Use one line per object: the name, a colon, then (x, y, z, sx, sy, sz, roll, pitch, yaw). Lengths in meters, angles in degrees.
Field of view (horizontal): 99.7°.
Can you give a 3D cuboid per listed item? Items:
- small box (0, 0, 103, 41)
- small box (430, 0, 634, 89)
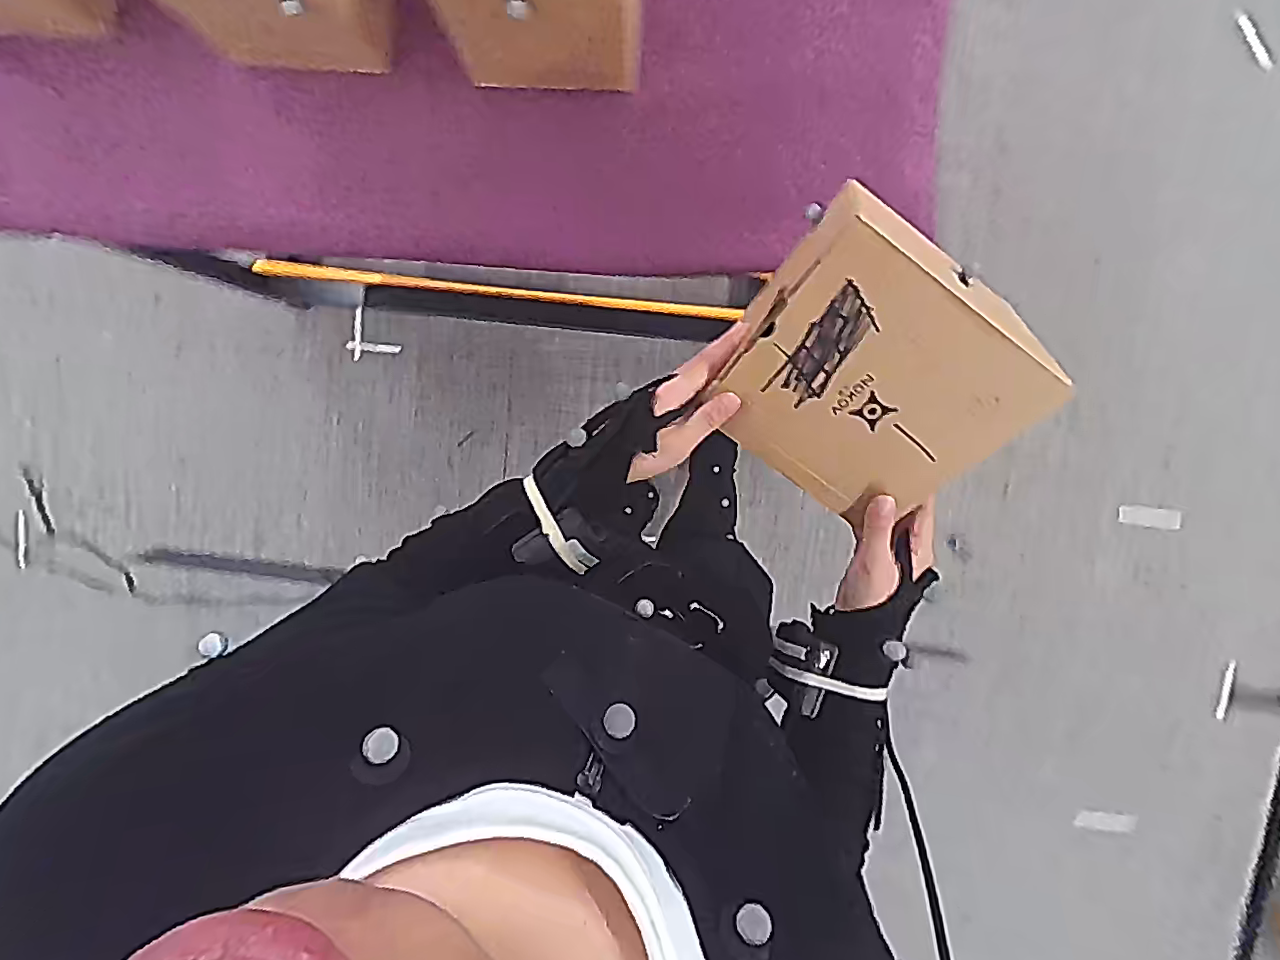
small box: (-0.660, -0.557, 0.506, 0.179, 0.176, 0.168, 2, 95, -1)
small box: (-0.093, -0.499, 0.501, 0.179, 0.176, 0.168, 3, 96, 2)
